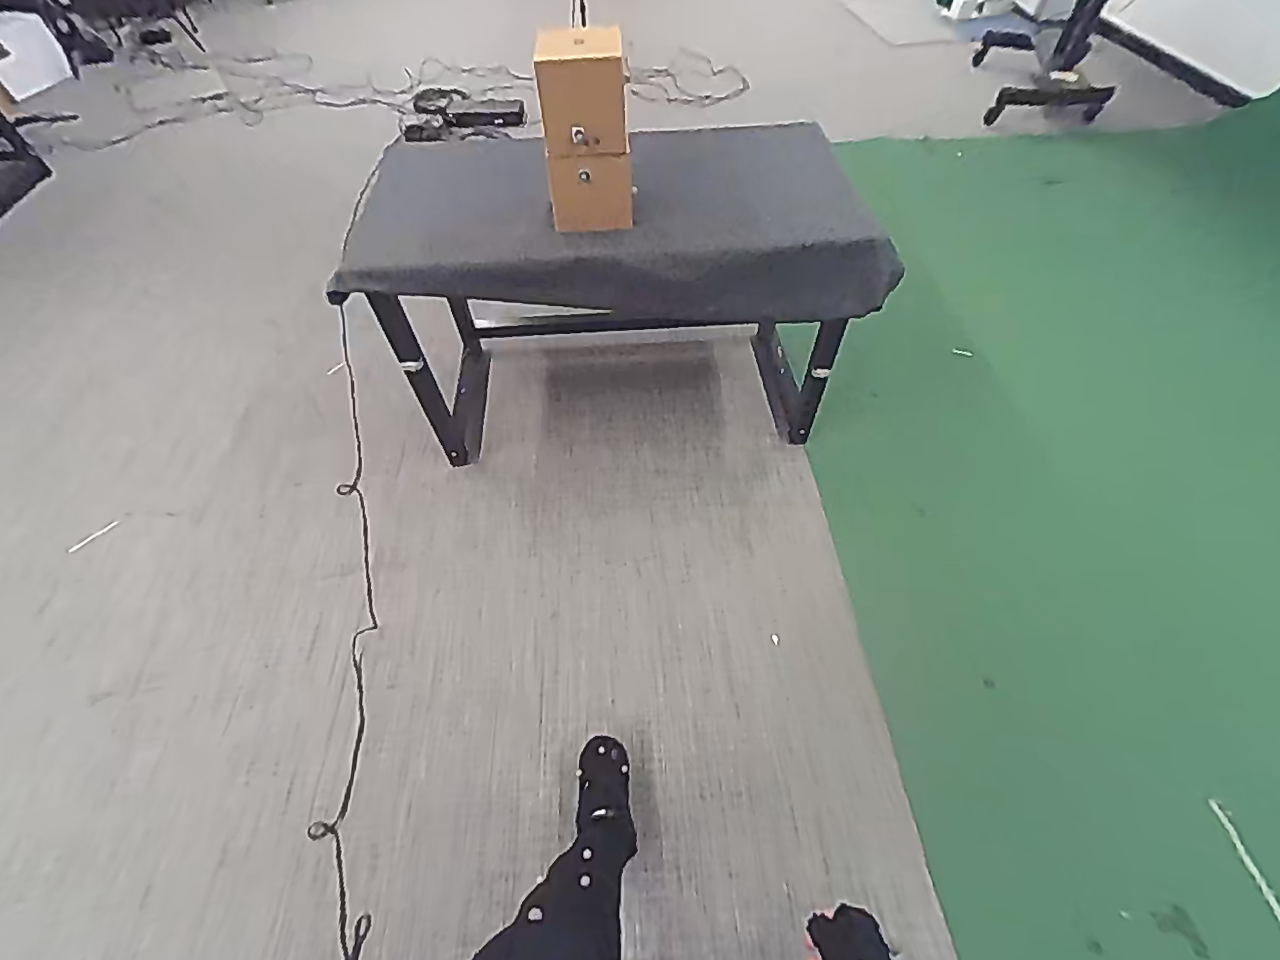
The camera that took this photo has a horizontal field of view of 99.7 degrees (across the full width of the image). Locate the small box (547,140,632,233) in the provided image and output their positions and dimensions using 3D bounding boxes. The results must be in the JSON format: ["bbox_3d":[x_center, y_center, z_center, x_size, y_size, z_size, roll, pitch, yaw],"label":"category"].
[{"bbox_3d":[-0.110,-0.682,1.230,0.179,0.176,0.168,-4,54,-2],"label":"small box"}]

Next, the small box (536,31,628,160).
[{"bbox_3d":[-0.112,-0.780,1.102,0.168,0.176,0.179,-4,55,0],"label":"small box"}]
